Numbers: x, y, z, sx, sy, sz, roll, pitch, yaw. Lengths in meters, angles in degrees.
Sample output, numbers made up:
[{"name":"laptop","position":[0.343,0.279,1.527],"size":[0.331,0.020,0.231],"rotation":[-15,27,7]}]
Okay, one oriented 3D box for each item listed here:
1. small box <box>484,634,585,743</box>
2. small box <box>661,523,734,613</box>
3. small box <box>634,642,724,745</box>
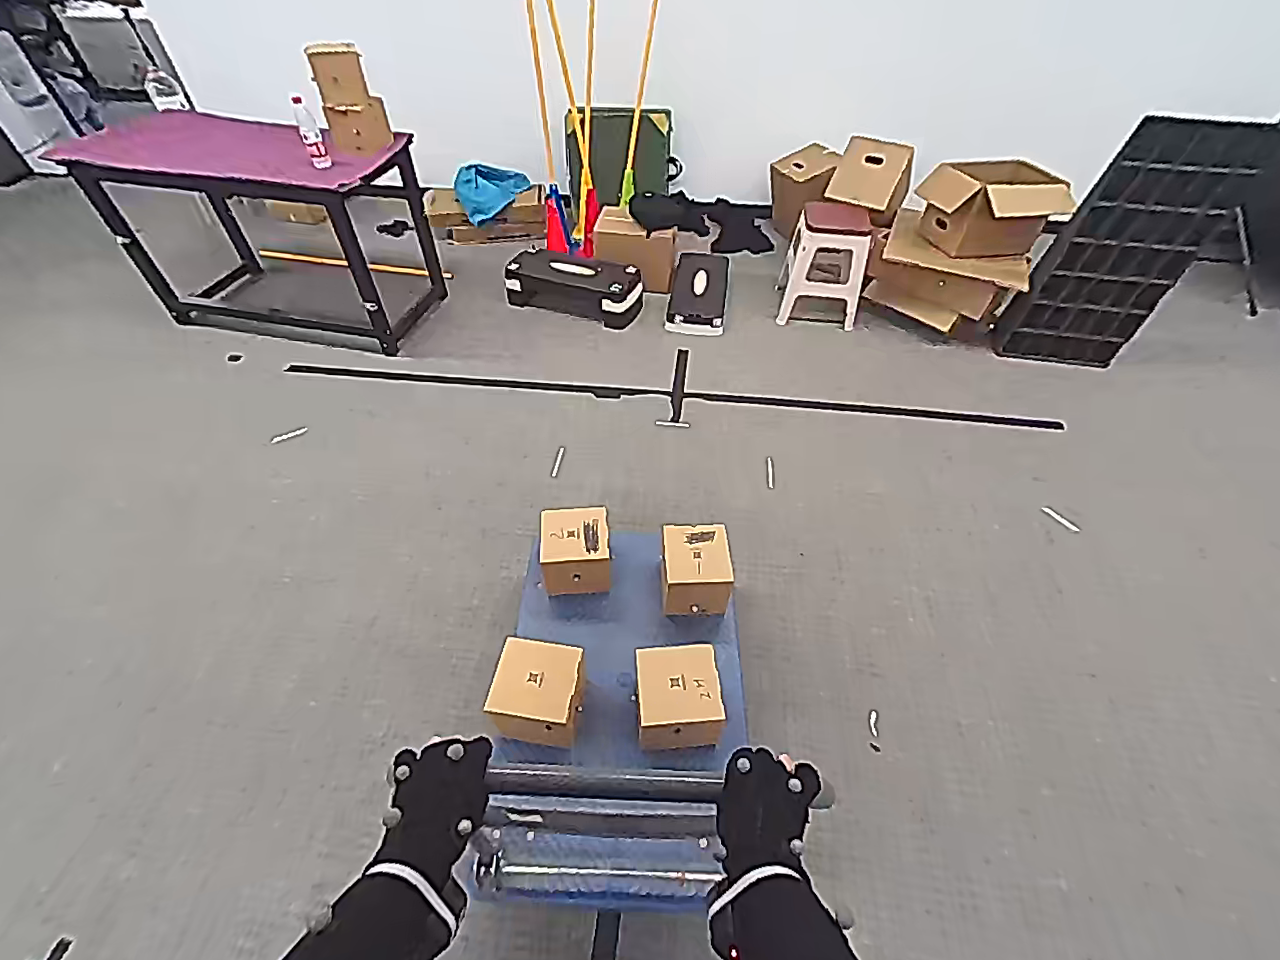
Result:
[{"name":"small box","position":[-0.225,0.468,1.205],"size":[0.179,0.176,0.168],"rotation":[8,48,4]},{"name":"small box","position":[0.143,0.231,1.423],"size":[0.168,0.176,0.179],"rotation":[-1,49,-2]},{"name":"small box","position":[0.080,0.478,1.202],"size":[0.179,0.176,0.168],"rotation":[-2,49,-3]}]
